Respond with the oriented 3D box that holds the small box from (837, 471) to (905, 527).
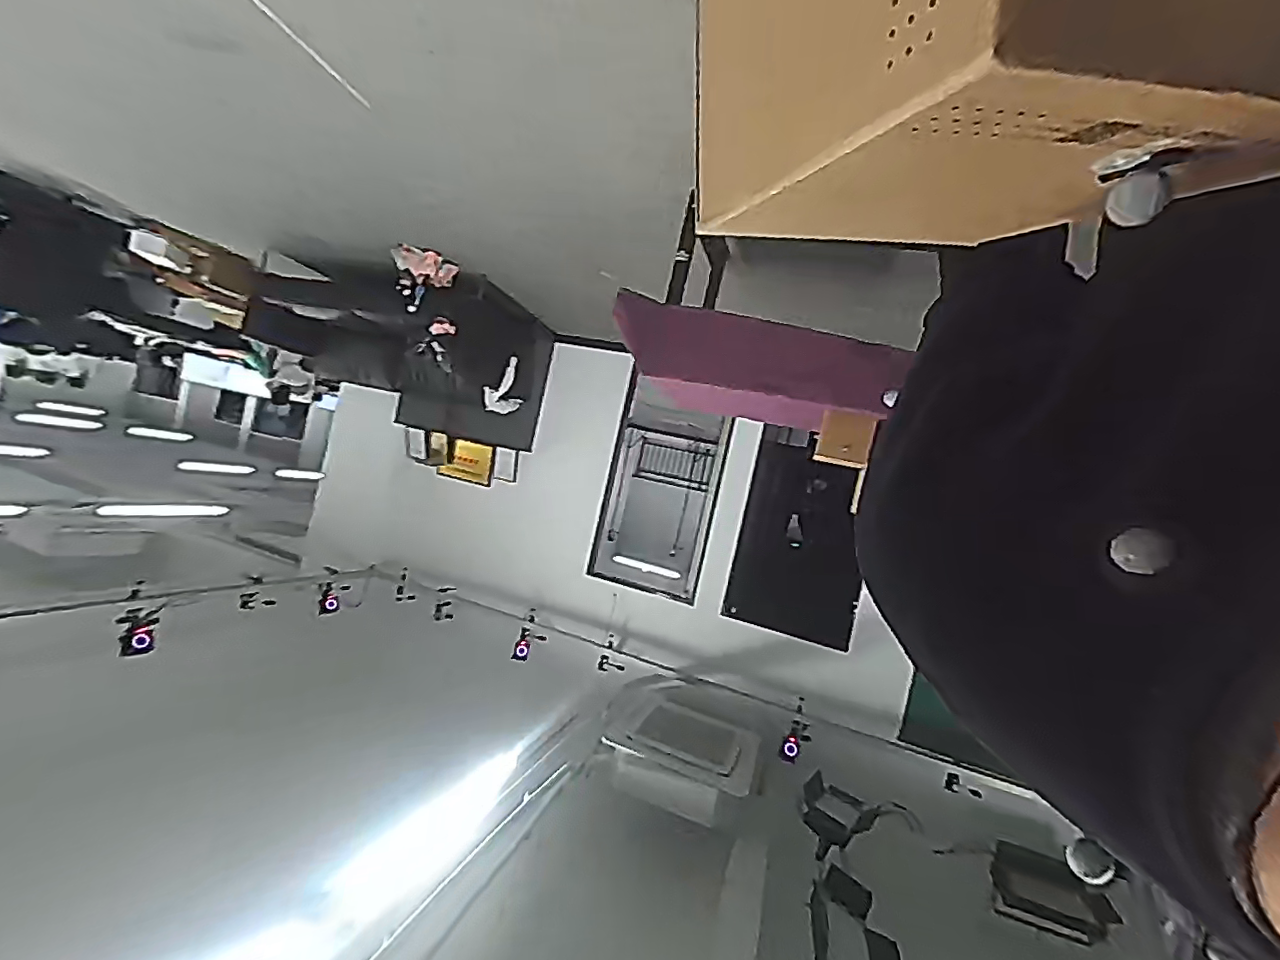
[{"bbox_3d":[0.827,0.065,1.937,0.168,0.176,0.179,14,179,6],"label":"small box"}]
